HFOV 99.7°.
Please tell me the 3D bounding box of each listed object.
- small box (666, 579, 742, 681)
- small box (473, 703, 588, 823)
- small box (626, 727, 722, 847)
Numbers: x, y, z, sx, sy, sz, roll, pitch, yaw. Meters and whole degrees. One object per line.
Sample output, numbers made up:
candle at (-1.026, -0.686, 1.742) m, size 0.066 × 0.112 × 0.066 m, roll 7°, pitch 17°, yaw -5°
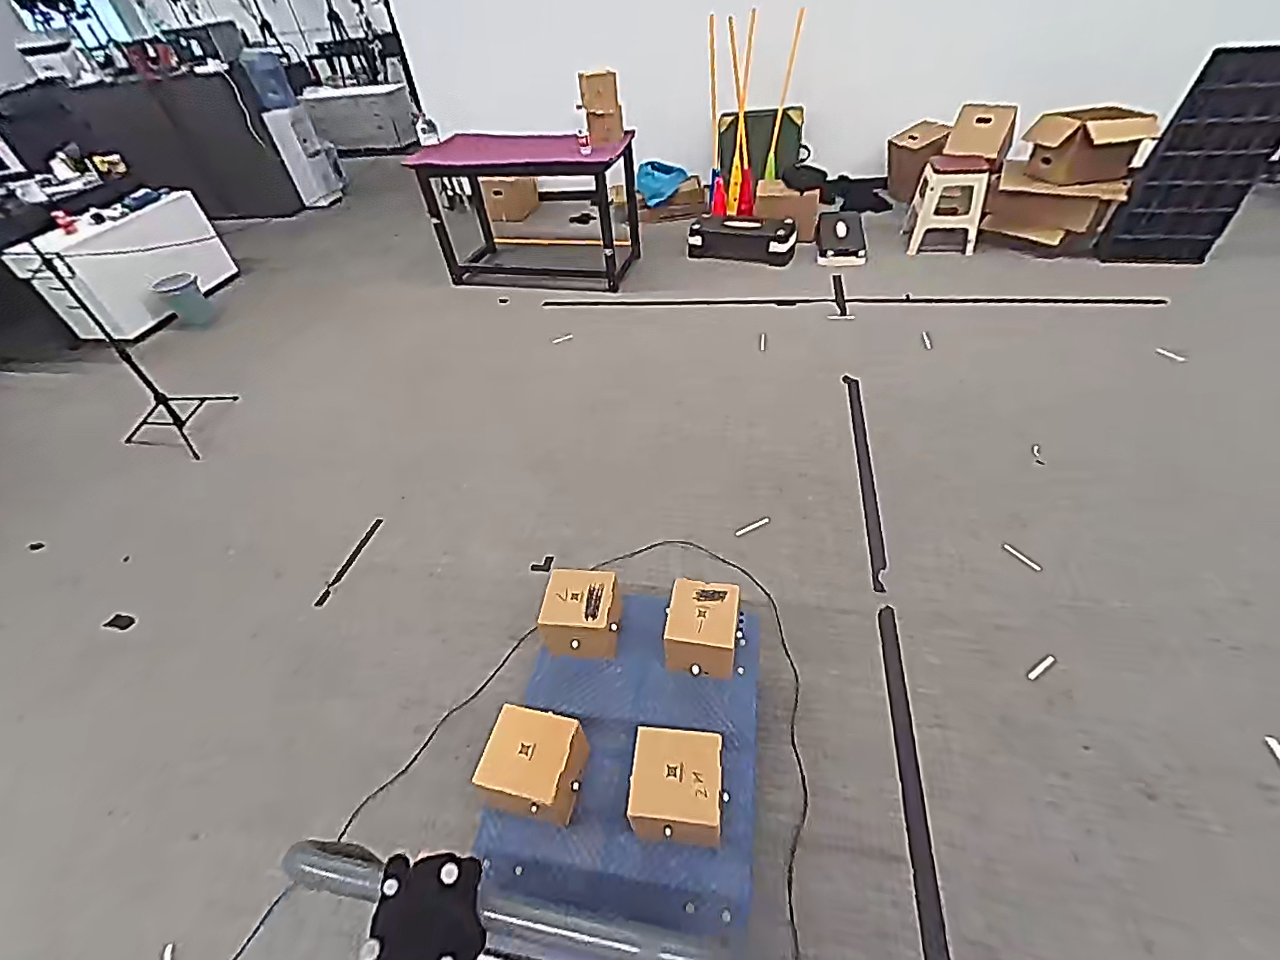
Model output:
small box at (0.162, 0.378, 1.365) m, size 0.168 × 0.176 × 0.179 m, roll 6°, pitch 46°, yaw 12°
small box at (-0.226, 0.613, 1.168) m, size 0.179 × 0.176 × 0.168 m, roll 8°, pitch 45°, yaw 12°
small box at (0.078, 0.632, 1.111) m, size 0.179 × 0.176 × 0.168 m, roll 2°, pitch 45°, yaw 9°
